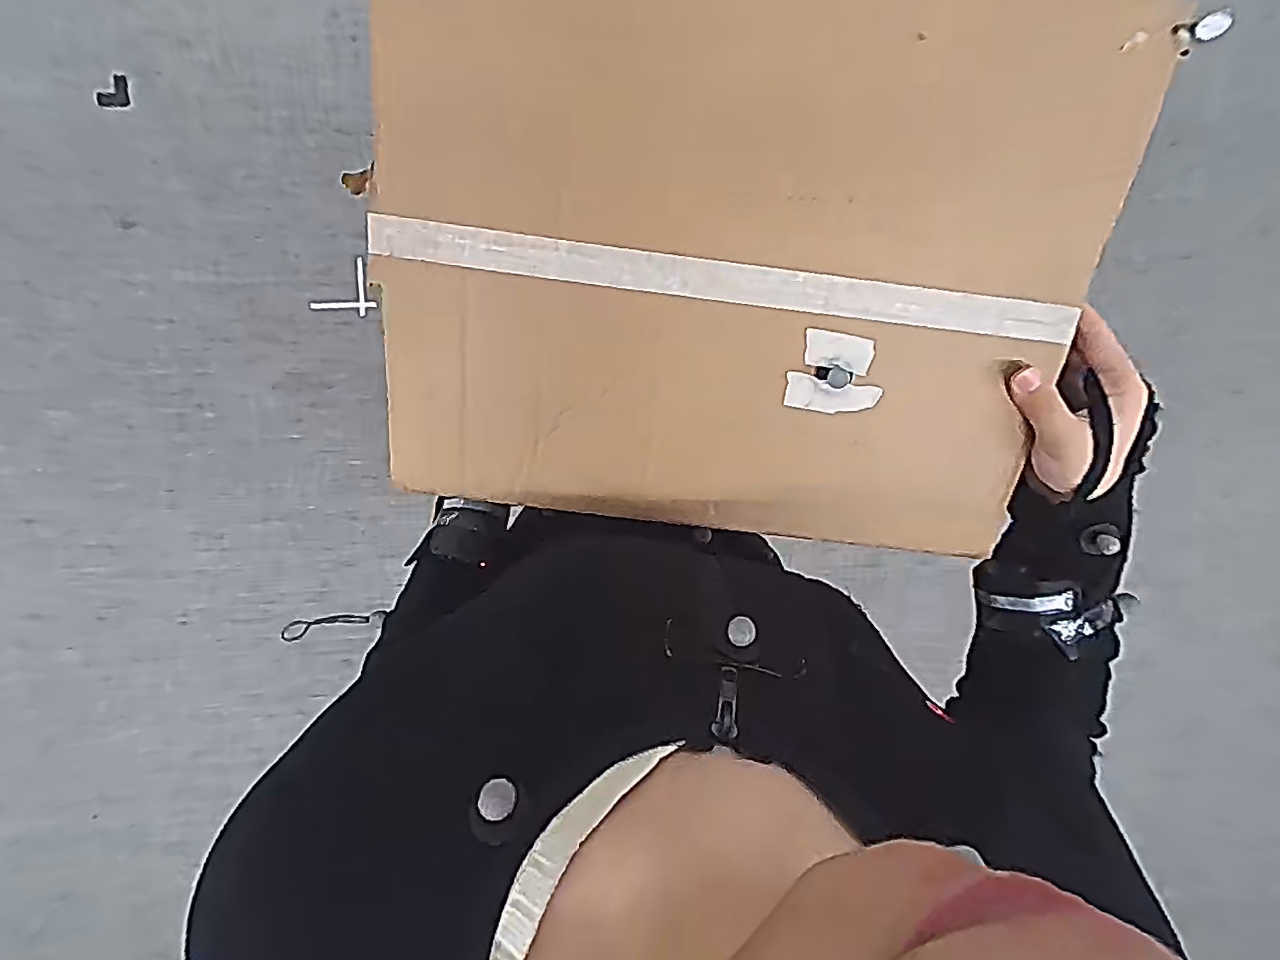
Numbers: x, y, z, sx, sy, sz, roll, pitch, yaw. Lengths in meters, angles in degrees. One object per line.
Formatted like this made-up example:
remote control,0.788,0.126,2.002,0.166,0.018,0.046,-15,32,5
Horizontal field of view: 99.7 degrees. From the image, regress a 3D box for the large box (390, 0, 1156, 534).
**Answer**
large box,0.054,-0.171,0.461,0.408,0.320,0.320,6,111,-4
